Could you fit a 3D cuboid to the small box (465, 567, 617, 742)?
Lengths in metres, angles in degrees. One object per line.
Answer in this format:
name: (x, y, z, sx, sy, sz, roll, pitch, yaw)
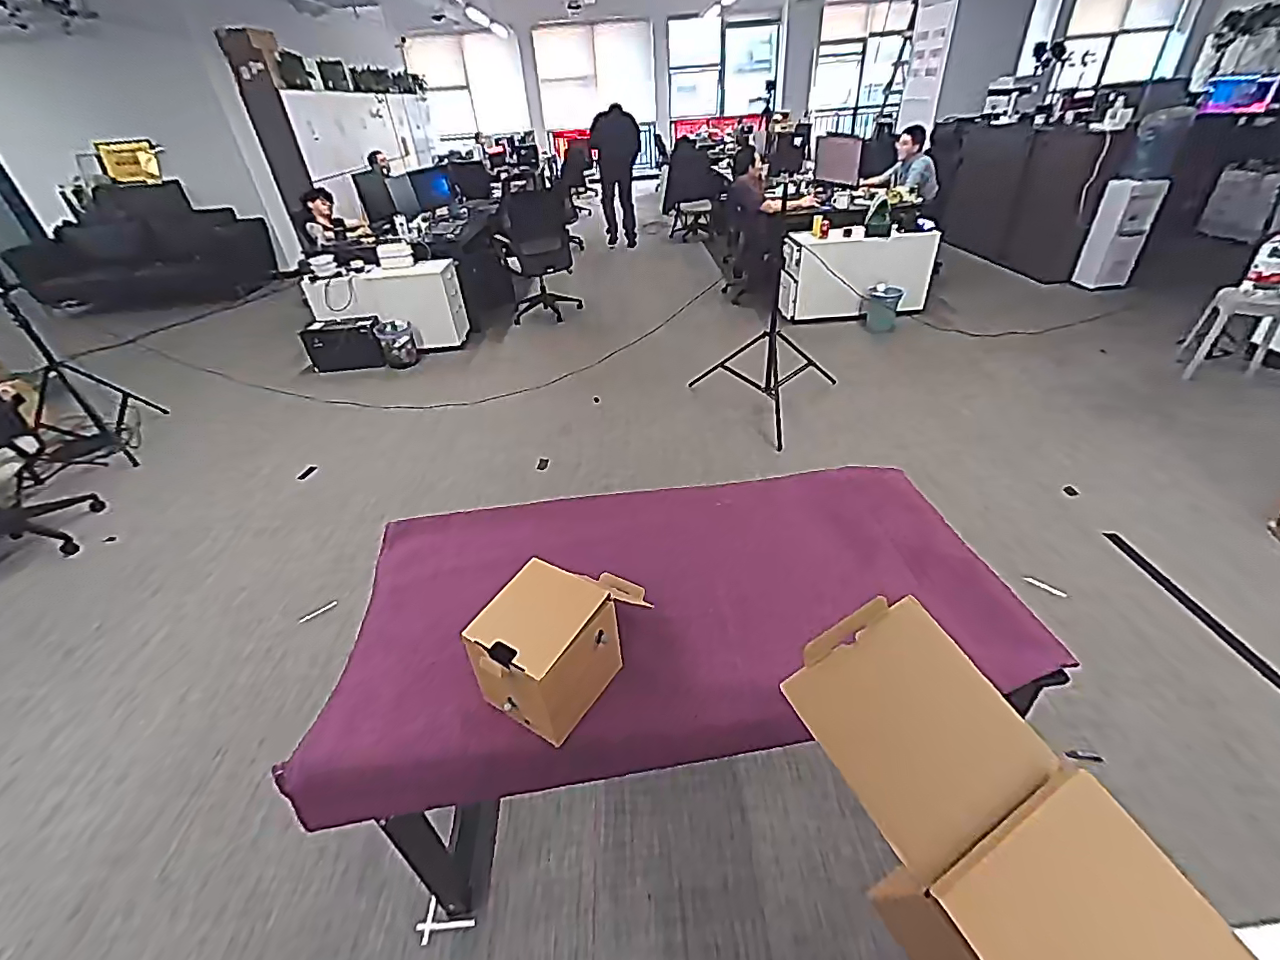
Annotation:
small box: (-0.150, 0.279, 0.881, 0.168, 0.176, 0.179, 17, 39, 30)
